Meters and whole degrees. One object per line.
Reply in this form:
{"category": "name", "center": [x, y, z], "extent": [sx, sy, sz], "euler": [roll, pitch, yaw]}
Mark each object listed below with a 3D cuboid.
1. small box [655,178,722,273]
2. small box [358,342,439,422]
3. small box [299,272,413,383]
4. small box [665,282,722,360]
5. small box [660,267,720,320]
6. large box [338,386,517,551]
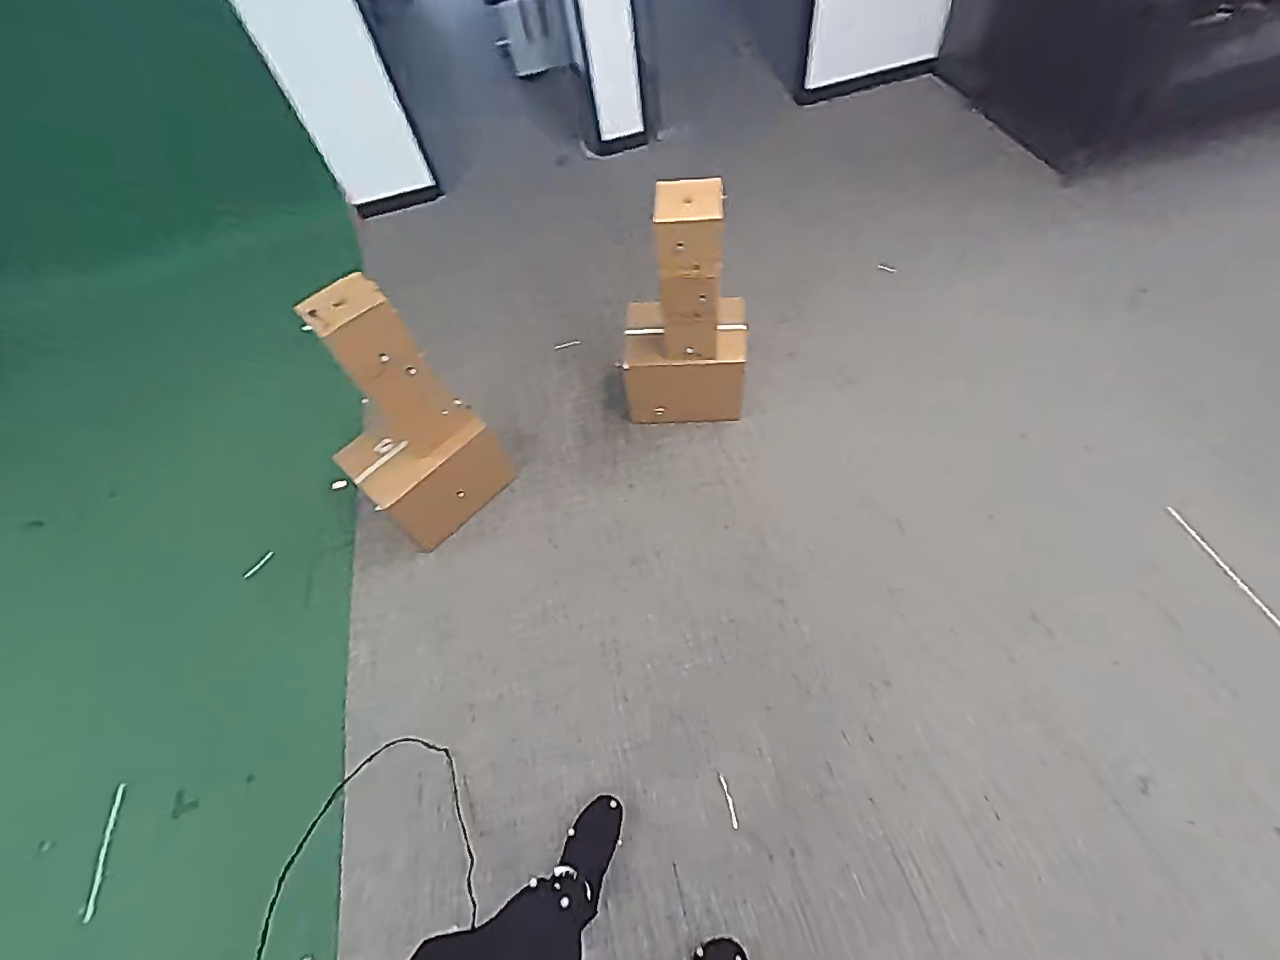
{"category": "small box", "center": [0.134, -0.669, 1.441], "extent": [0.168, 0.176, 0.179], "euler": [0, 59, 7]}
{"category": "small box", "center": [-0.689, -0.298, 1.506], "extent": [0.179, 0.176, 0.168], "euler": [-40, 61, -17]}
{"category": "small box", "center": [-0.704, -0.384, 1.367], "extent": [0.179, 0.176, 0.168], "euler": [-39, 61, -18]}
{"category": "small box", "center": [0.171, -0.506, 1.718], "extent": [0.168, 0.176, 0.179], "euler": [2, 60, 9]}
{"category": "small box", "center": [0.150, -0.585, 1.577], "extent": [0.168, 0.176, 0.179], "euler": [1, 59, 7]}
{"category": "large box", "center": [-0.699, -0.042, 1.835], "extent": [0.320, 0.320, 0.408], "euler": [35, 70, 27]}
